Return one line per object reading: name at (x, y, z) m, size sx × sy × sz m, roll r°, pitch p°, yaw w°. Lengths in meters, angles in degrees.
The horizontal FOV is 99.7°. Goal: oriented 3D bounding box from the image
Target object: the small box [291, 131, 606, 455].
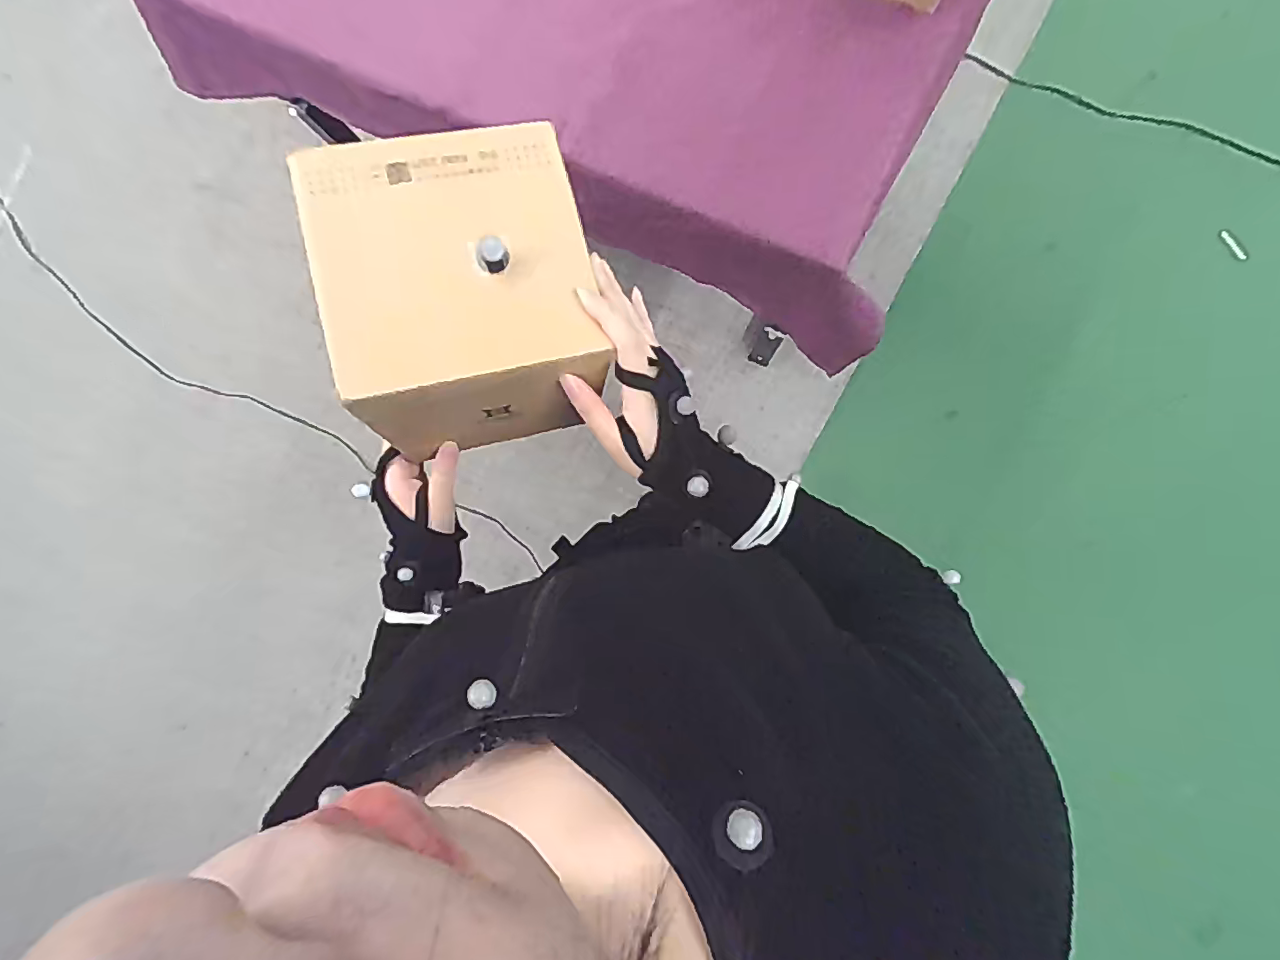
small box at (-0.133, -0.134, 0.415) m, size 0.168 × 0.179 × 0.176 m, roll -15°, pitch 84°, yaw -11°
